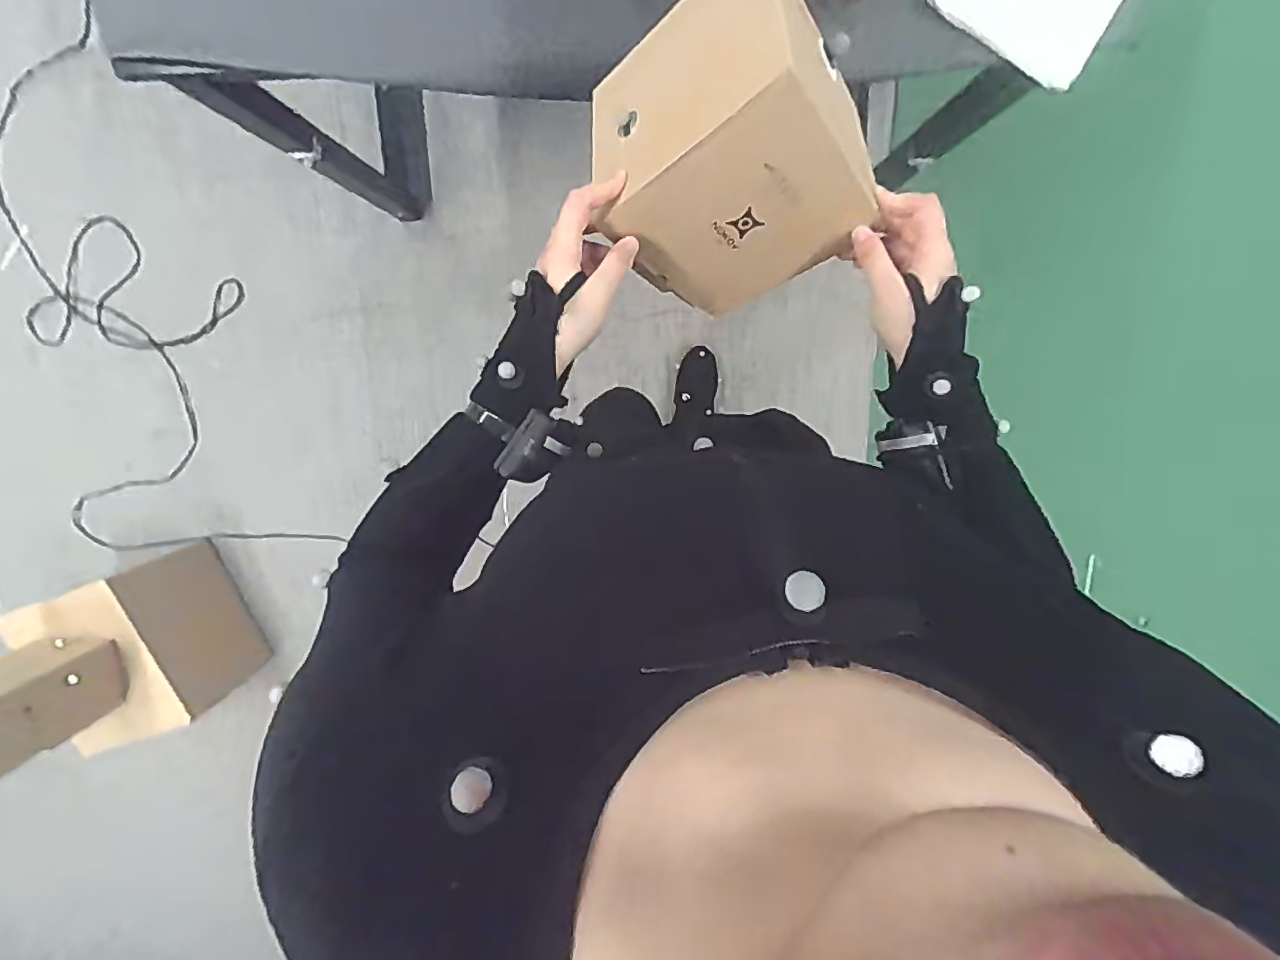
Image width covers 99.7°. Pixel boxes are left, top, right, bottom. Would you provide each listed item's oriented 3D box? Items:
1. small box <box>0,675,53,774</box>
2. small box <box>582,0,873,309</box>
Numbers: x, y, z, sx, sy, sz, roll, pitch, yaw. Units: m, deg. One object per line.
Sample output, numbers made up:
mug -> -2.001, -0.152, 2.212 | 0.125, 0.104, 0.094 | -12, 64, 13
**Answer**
small box -> -1.318, 0.493, 1.045 | 0.179, 0.176, 0.168 | 1, 103, 2
small box -> 0.068, -0.288, 0.461 | 0.179, 0.168, 0.176 | -23, 62, 39
